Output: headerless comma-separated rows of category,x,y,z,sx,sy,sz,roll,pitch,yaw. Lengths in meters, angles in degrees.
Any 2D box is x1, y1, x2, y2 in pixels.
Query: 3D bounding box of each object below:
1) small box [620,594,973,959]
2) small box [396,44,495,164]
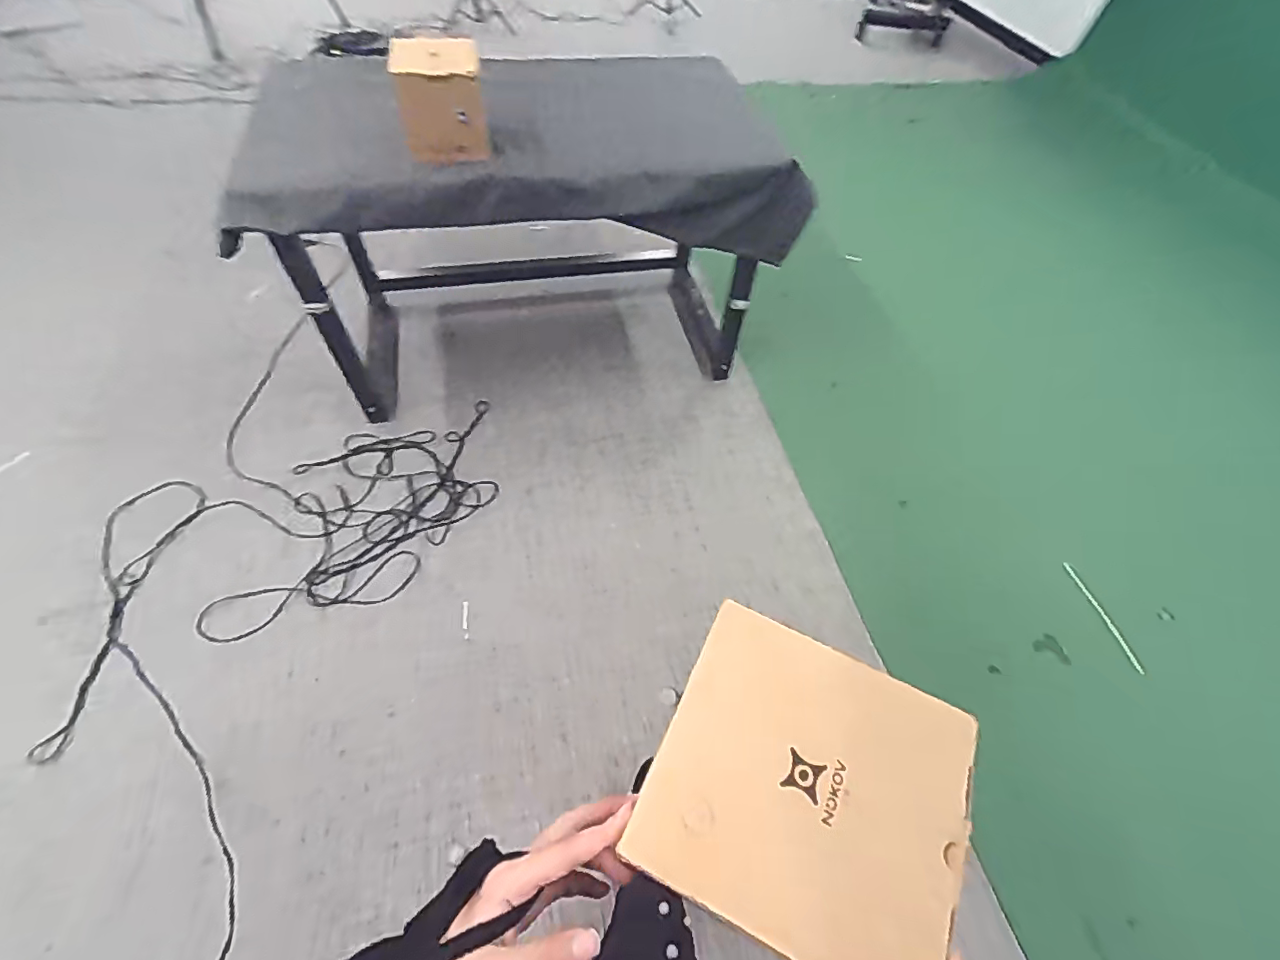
small box,0.095,0.216,0.385,0.179,0.176,0.168,24,57,11
small box,-0.406,-0.794,1.148,0.168,0.176,0.179,-7,55,-11
